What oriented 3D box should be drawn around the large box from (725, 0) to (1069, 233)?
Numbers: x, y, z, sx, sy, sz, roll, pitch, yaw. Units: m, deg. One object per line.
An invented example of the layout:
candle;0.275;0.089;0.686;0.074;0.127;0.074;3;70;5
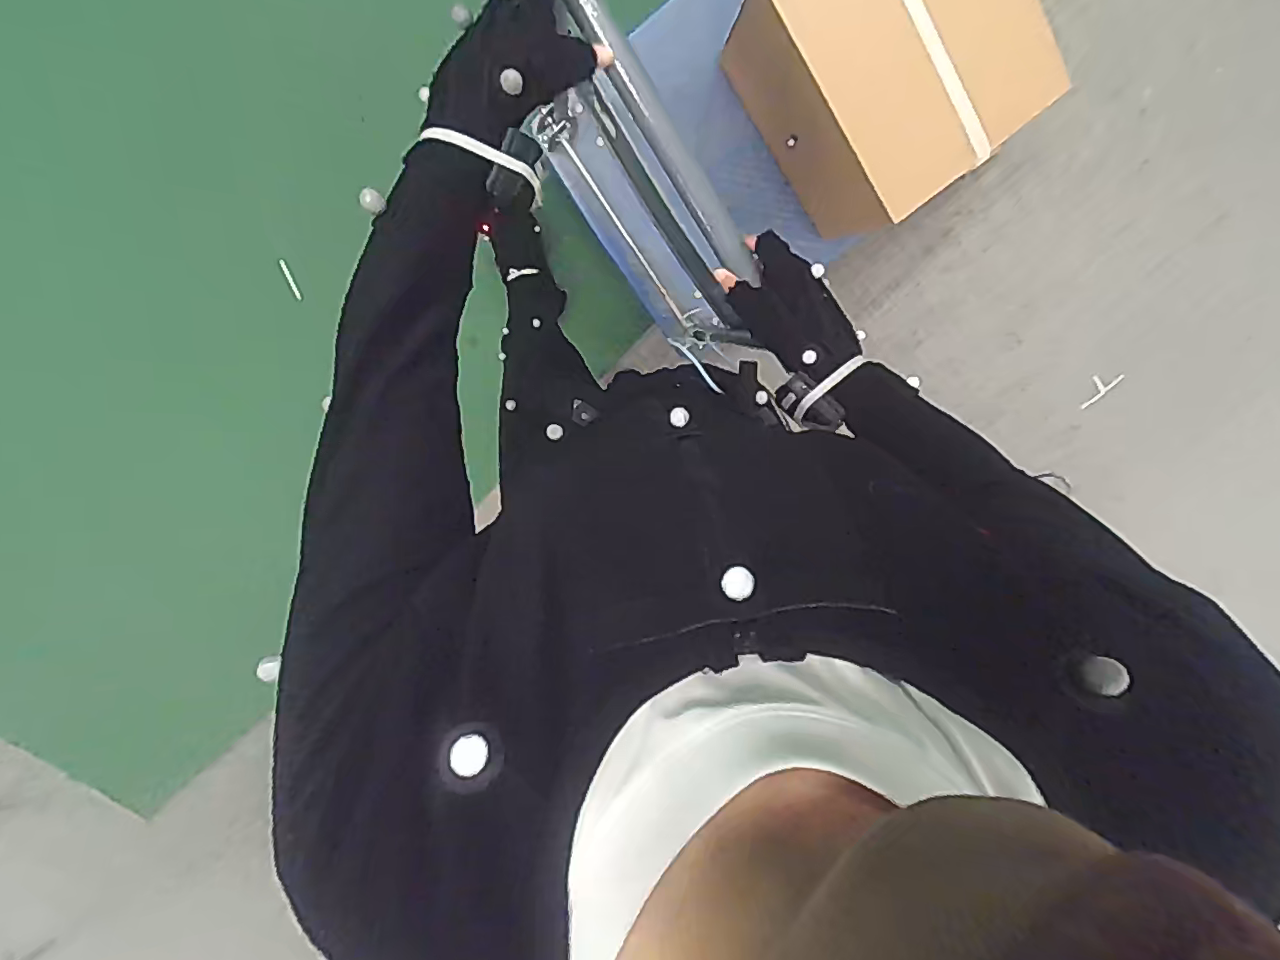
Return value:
large box;0.402;-0.705;0.927;0.320;0.320;0.408;-37;106;10
